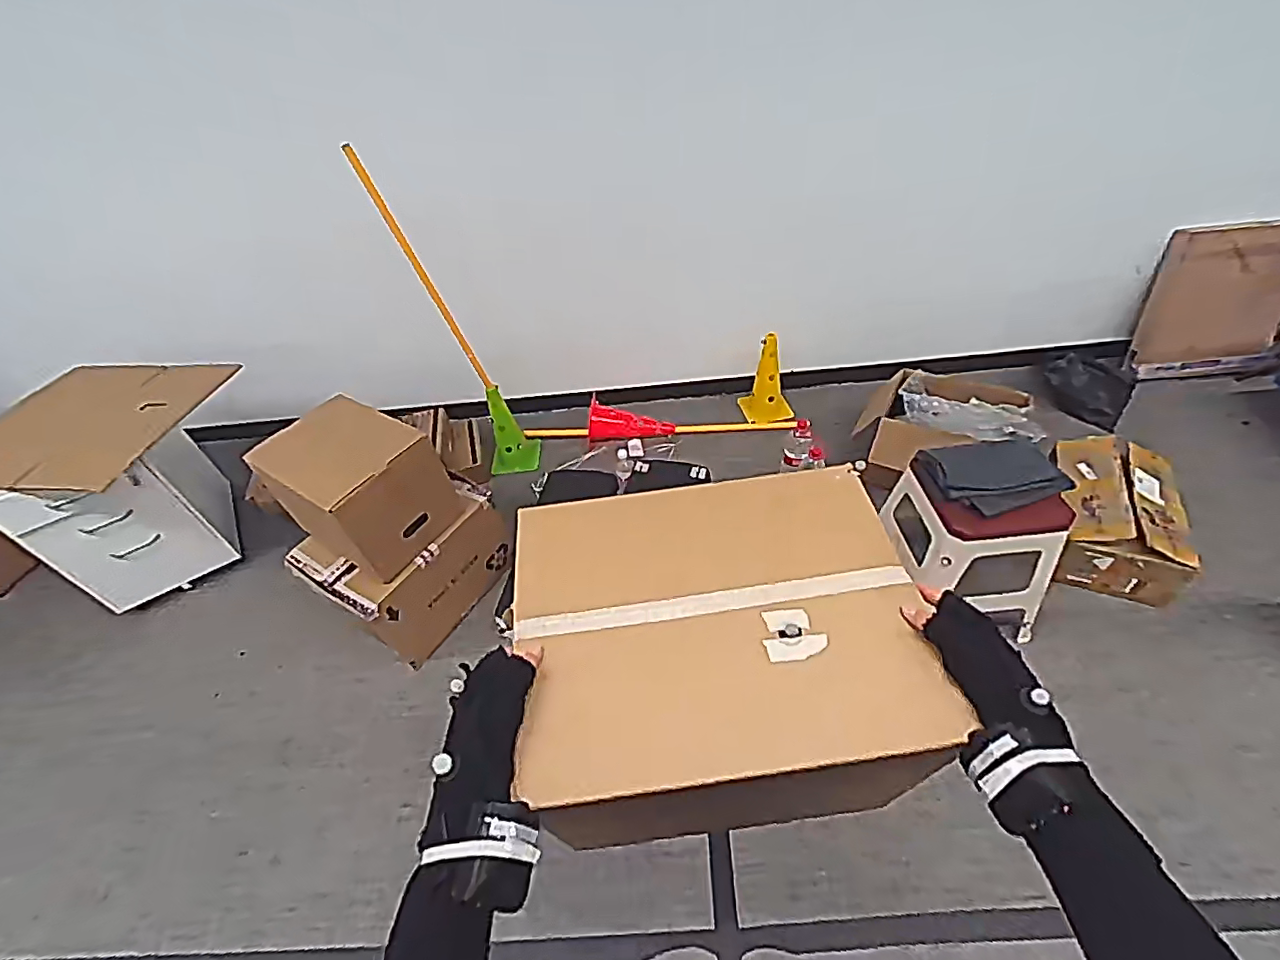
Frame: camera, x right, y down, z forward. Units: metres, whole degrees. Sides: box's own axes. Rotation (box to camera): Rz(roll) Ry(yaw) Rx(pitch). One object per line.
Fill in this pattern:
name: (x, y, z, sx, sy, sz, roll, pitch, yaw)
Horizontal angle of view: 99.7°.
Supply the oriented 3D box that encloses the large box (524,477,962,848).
large box: (0.083, 0.233, 0.682, 0.408, 0.320, 0.320, -8, 51, -2)
